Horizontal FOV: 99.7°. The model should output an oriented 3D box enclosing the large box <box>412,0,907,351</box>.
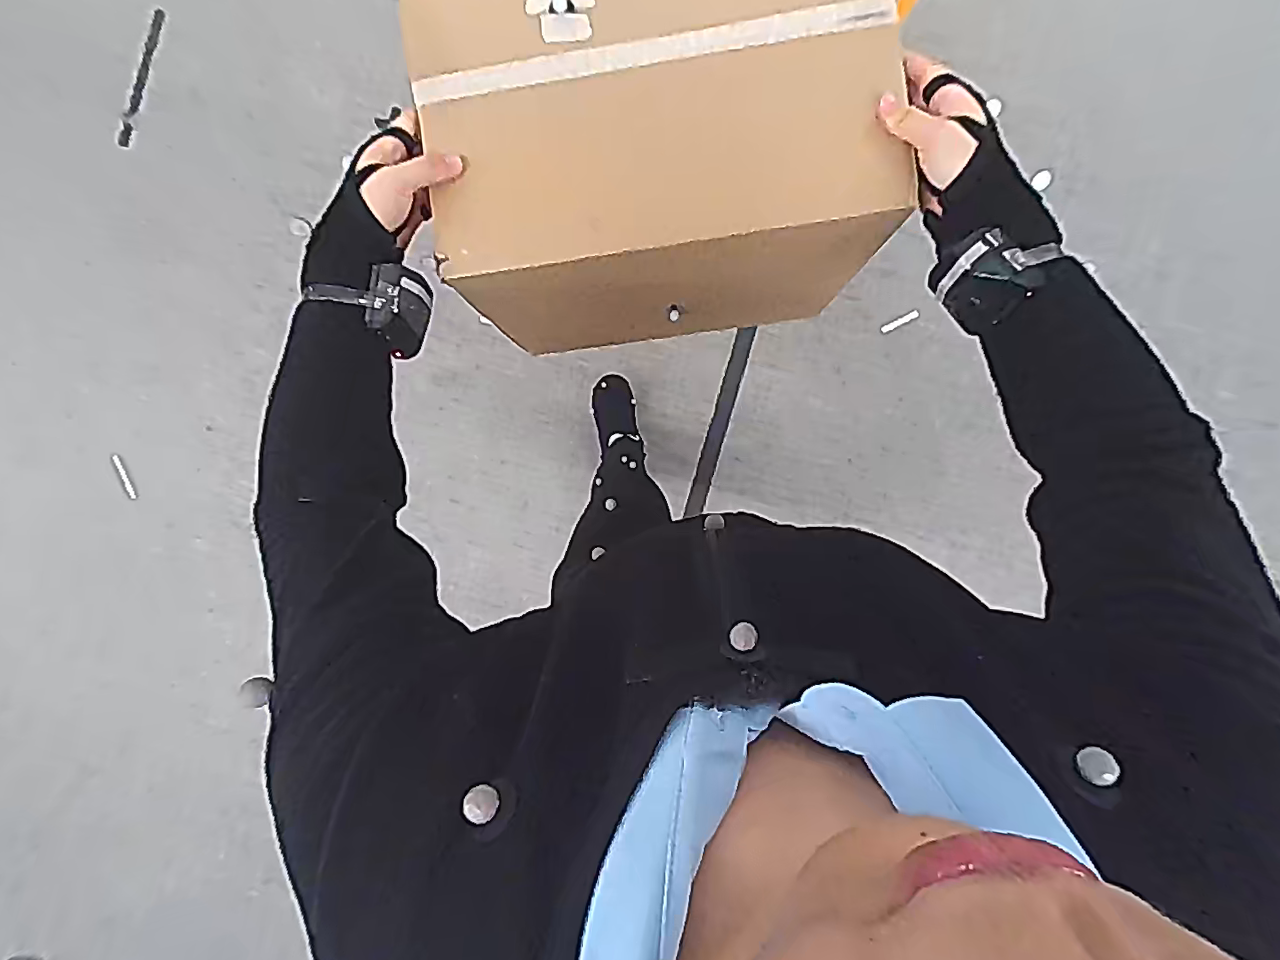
[{"bbox_3d":[0.019,-0.358,0.613,0.408,0.320,0.320,-8,89,4],"label":"large box"}]
